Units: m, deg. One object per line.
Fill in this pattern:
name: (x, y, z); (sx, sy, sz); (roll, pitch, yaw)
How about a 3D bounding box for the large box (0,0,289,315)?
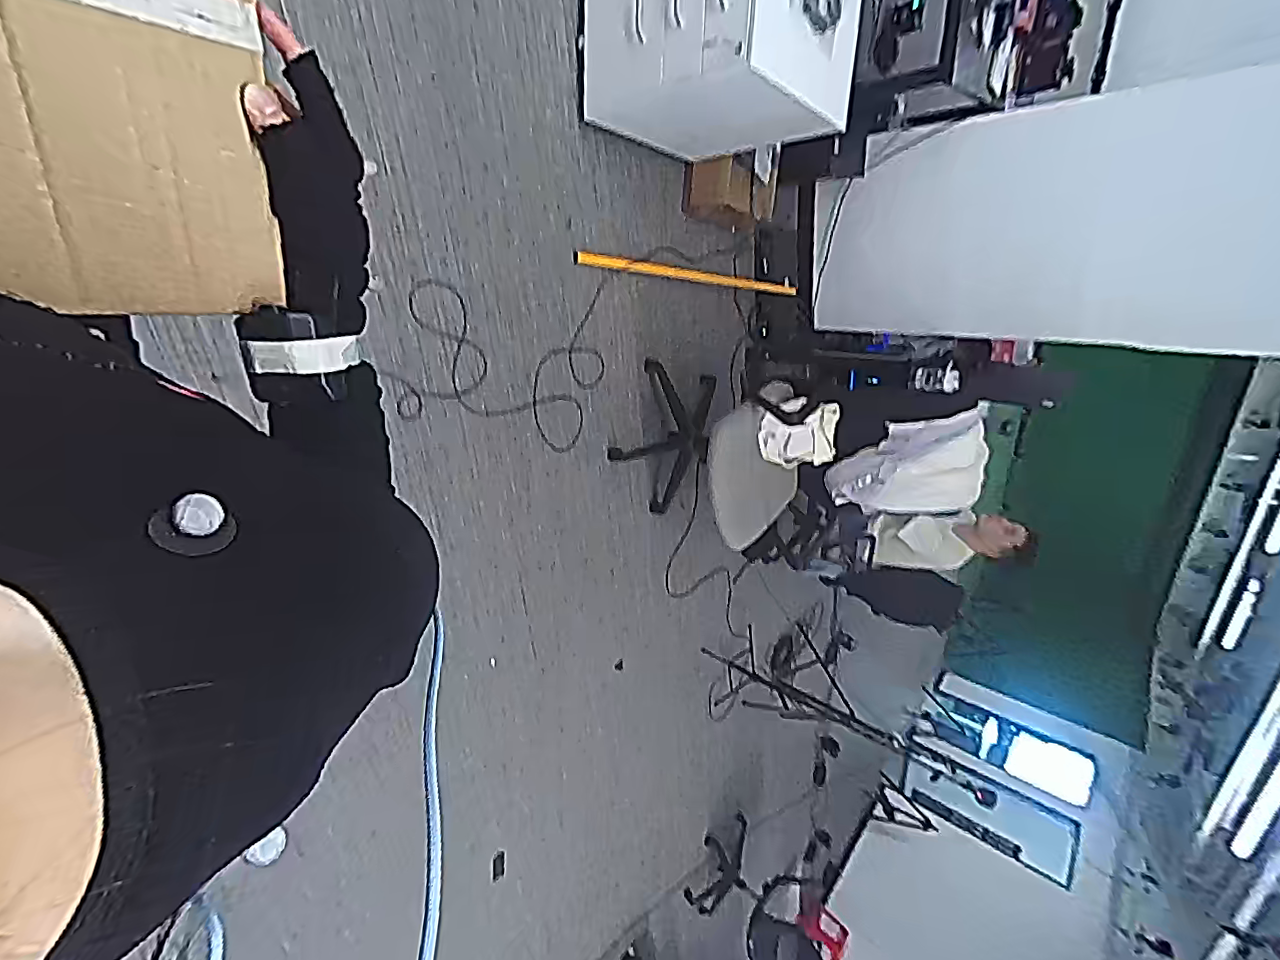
large box: (-0.463, -0.277, 0.264); (0.408, 0.320, 0.320); (-17, 131, -43)
